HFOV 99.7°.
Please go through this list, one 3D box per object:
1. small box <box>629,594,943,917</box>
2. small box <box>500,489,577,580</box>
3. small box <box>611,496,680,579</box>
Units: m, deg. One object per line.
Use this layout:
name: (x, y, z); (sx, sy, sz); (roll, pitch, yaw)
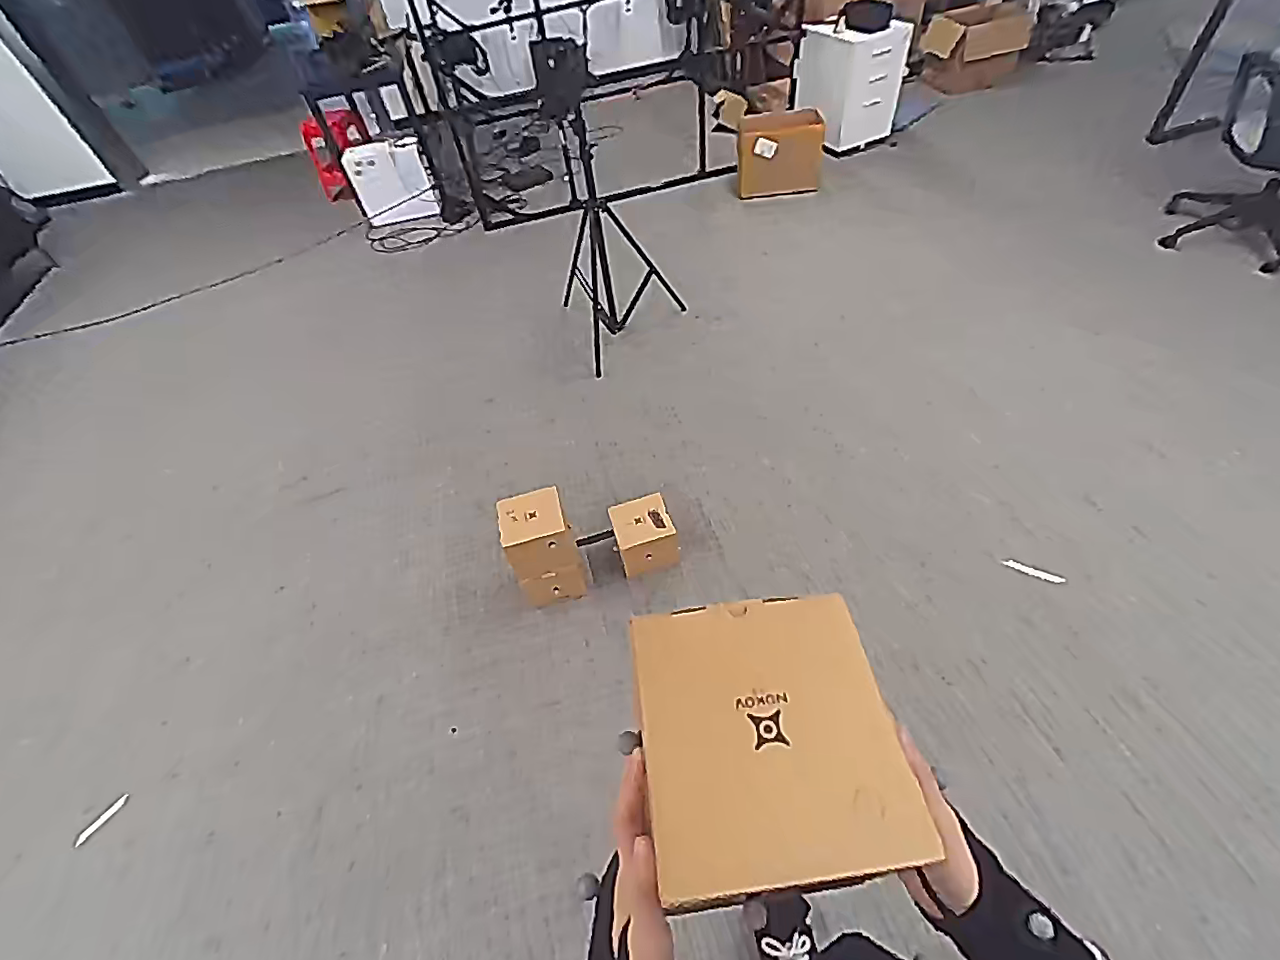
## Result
small box: (0.086, 0.214, 0.416); (0.168, 0.176, 0.179); (-7, 48, -4)
small box: (-0.281, 0.157, 1.532); (0.179, 0.176, 0.168); (-16, 49, -4)
small box: (0.021, 0.181, 1.682); (0.179, 0.176, 0.168); (-17, 50, -4)
